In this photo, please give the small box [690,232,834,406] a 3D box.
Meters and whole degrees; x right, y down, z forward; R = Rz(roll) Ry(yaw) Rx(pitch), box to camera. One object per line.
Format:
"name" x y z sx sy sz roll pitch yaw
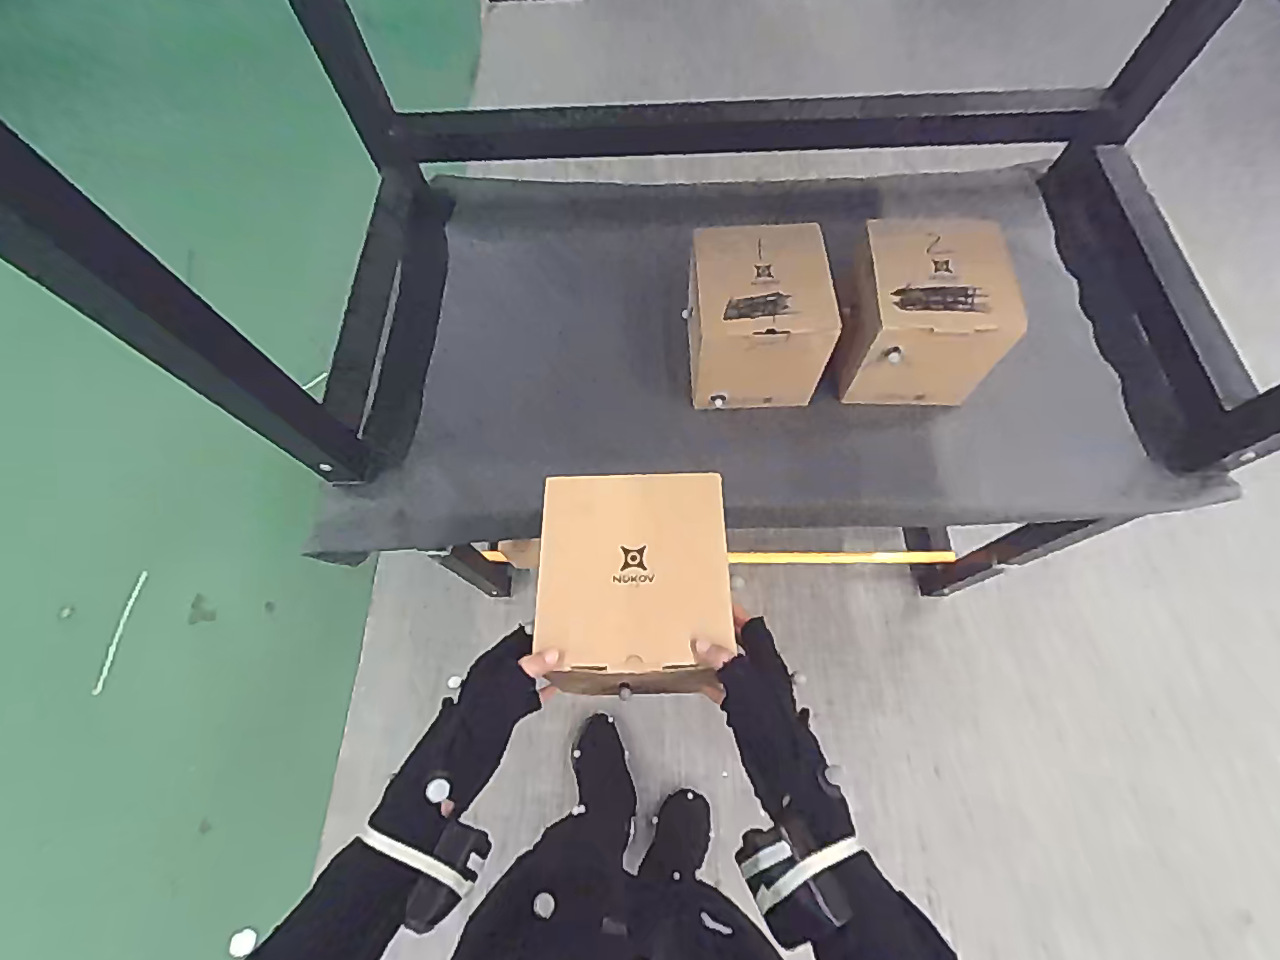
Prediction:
"small box" 0.157 -0.214 0.756 0.168 0.176 0.179 -2 65 2
